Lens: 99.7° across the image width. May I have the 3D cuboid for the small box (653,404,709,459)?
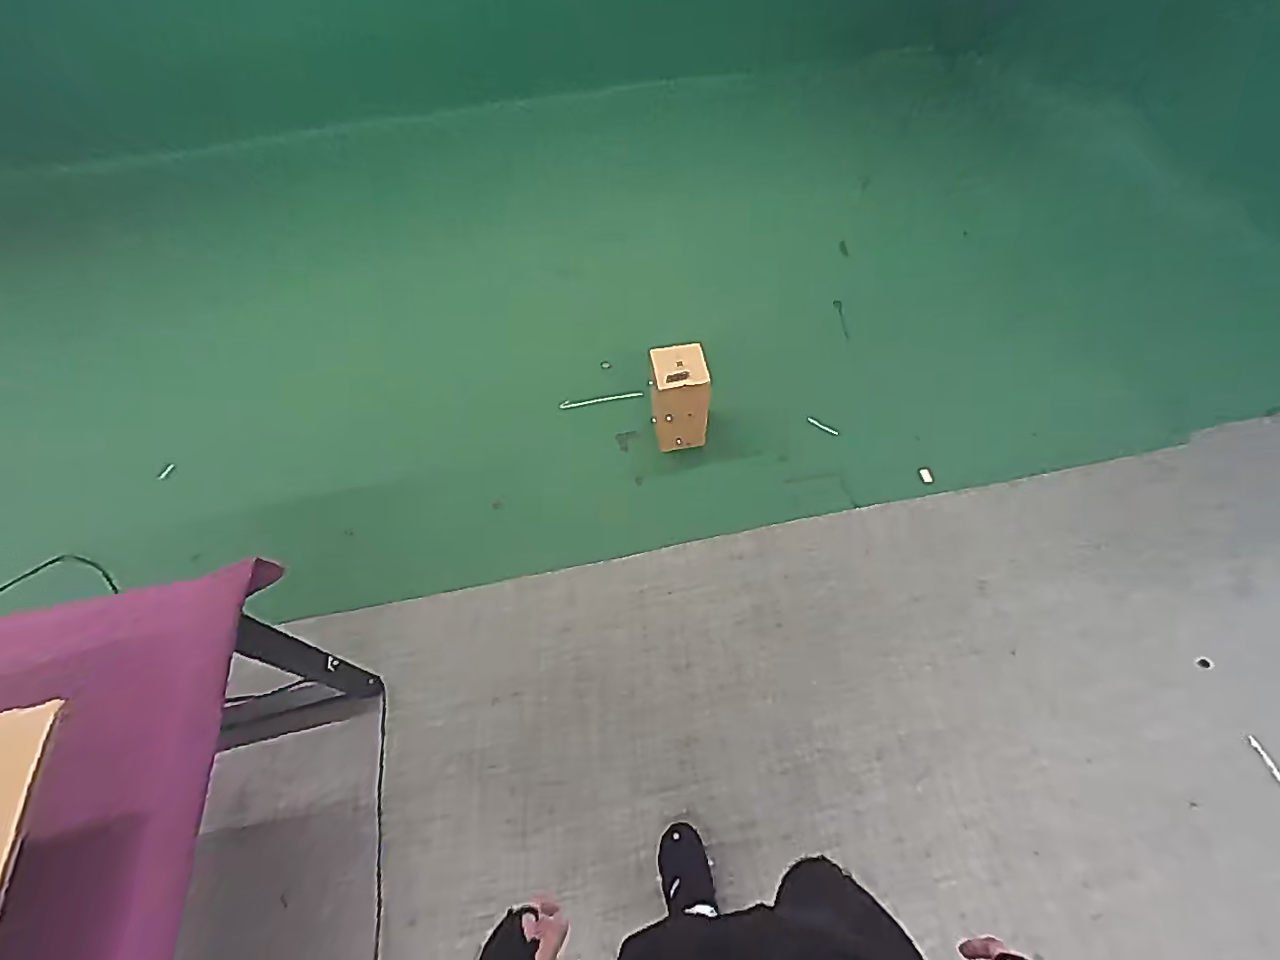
[{"bbox_3d":[0.139,-0.199,1.904,0.168,0.176,0.179,-9,58,-3],"label":"small box"}]

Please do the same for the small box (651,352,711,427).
[{"bbox_3d":[0.132,-0.288,1.766,0.168,0.176,0.179,-8,57,-3],"label":"small box"}]
